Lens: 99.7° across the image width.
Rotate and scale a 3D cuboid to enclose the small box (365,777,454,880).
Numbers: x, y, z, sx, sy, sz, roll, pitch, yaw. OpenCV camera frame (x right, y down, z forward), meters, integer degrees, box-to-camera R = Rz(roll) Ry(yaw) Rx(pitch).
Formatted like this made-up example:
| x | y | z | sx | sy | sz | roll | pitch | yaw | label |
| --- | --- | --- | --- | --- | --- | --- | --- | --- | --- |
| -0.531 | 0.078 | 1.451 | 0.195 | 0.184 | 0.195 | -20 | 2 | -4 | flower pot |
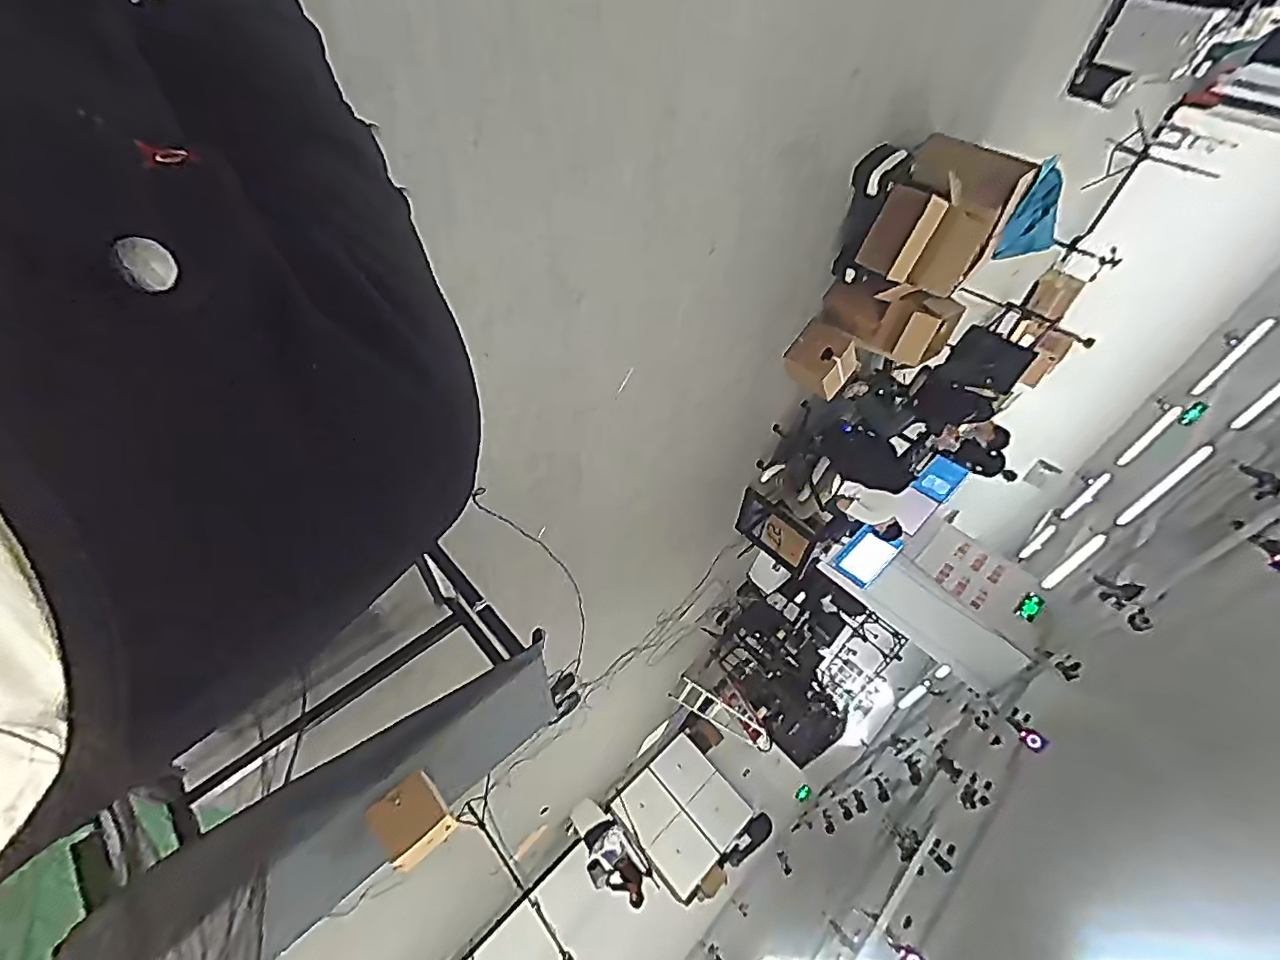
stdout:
| x | y | z | sx | sy | sz | roll | pitch | yaw | label |
| --- | --- | --- | --- | --- | --- | --- | --- | --- | --- |
| -0.677 | 1.016 | 1.580 | 0.179 | 0.176 | 0.168 | -33 | 149 | -29 | small box |
